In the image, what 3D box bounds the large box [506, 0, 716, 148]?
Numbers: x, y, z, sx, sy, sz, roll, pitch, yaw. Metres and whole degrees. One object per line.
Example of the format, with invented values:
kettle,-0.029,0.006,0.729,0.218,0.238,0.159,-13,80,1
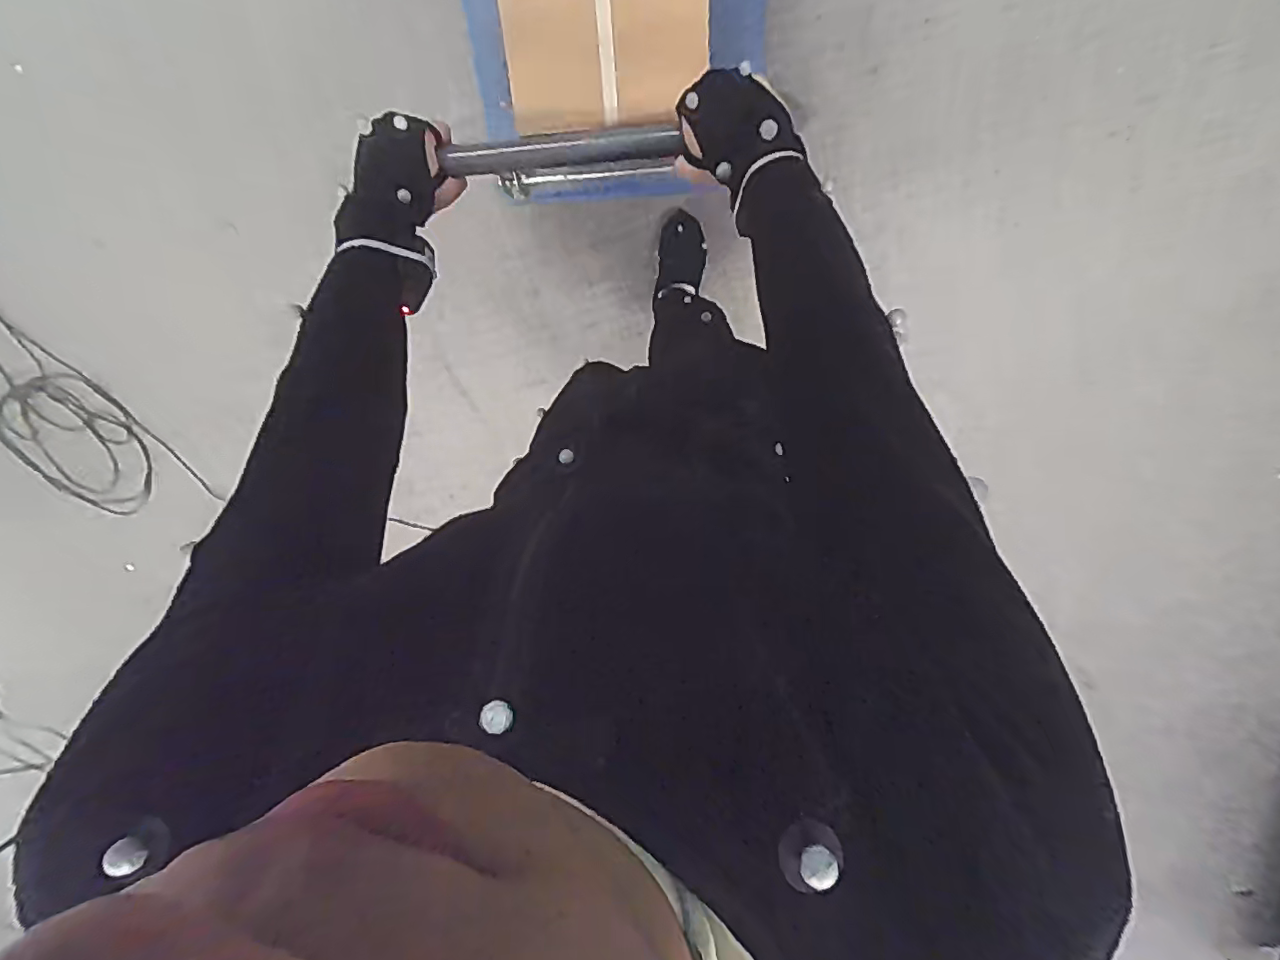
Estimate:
large box,-0.036,-0.814,0.906,0.320,0.320,0.408,-1,118,6
